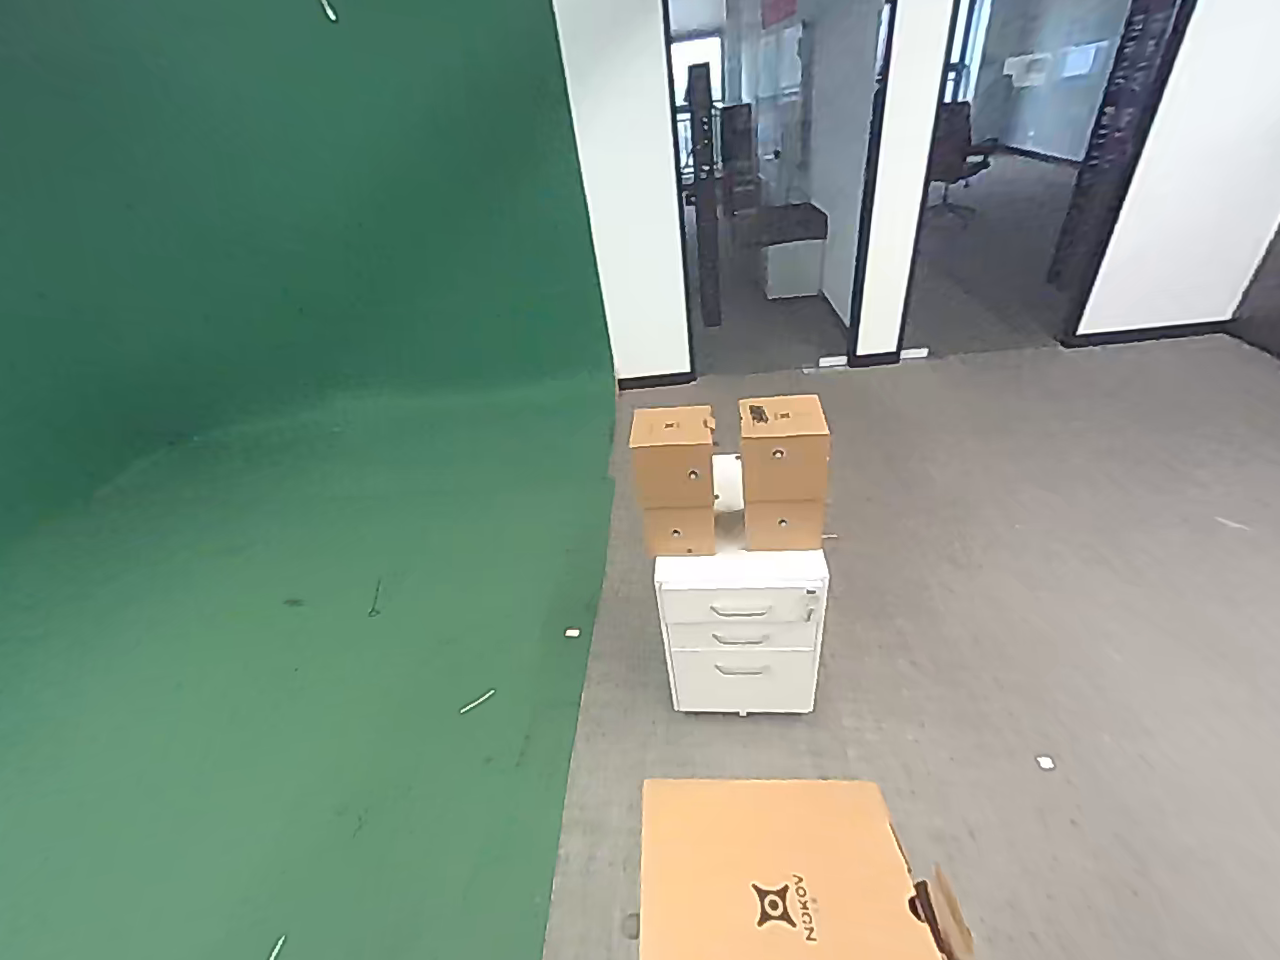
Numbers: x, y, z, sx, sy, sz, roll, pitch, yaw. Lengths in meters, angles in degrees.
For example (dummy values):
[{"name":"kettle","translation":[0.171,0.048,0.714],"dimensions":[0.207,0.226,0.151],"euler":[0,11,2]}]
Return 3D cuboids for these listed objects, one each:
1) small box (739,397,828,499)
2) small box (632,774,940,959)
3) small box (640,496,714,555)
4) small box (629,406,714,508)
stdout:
[{"name":"small box","translation":[0.311,-0.068,1.196],"dimensions":[0.179,0.176,0.168],"euler":[-2,37,10]},{"name":"small box","translation":[0.086,0.331,0.366],"dimensions":[0.179,0.176,0.168],"euler":[0,26,2]},{"name":"small box","translation":[0.097,0.070,1.329],"dimensions":[0.168,0.176,0.179],"euler":[-1,37,8]},{"name":"small box","translation":[0.078,-0.050,1.221],"dimensions":[0.179,0.176,0.168],"euler":[-3,35,7]}]
